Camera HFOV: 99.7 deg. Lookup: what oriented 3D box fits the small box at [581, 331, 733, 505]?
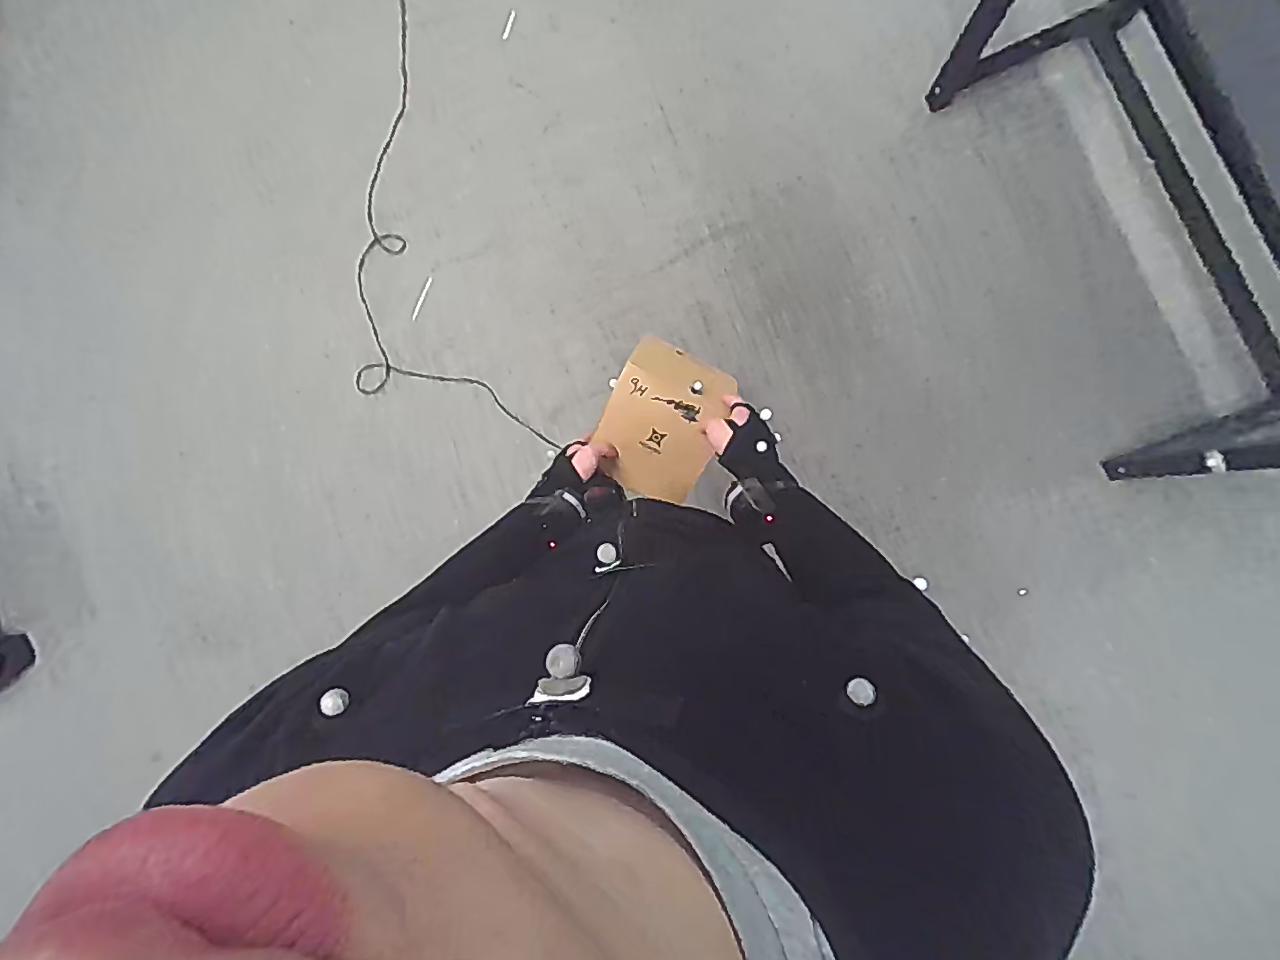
[{"bbox_3d":[0.034,-0.101,0.831,0.168,0.176,0.179,28,121,-4],"label":"small box"}]
